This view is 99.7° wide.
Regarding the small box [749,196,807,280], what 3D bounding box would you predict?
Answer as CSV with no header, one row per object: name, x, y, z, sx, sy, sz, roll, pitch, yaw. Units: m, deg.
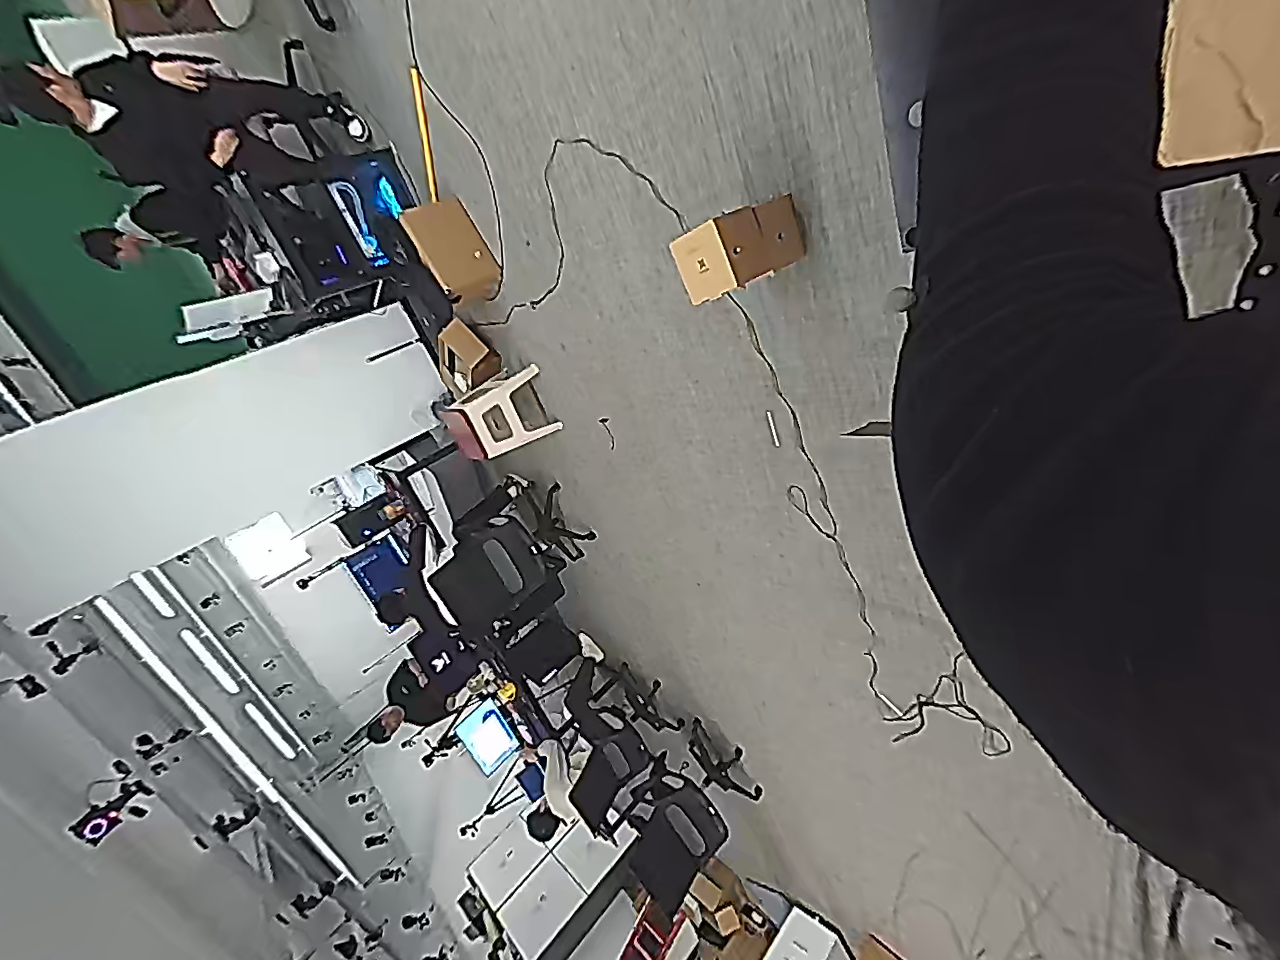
small box,0.337,-0.673,1.513,0.168,0.176,0.179,2,122,52

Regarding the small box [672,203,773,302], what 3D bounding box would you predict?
small box,0.222,-0.598,1.426,0.168,0.176,0.179,-3,116,53
